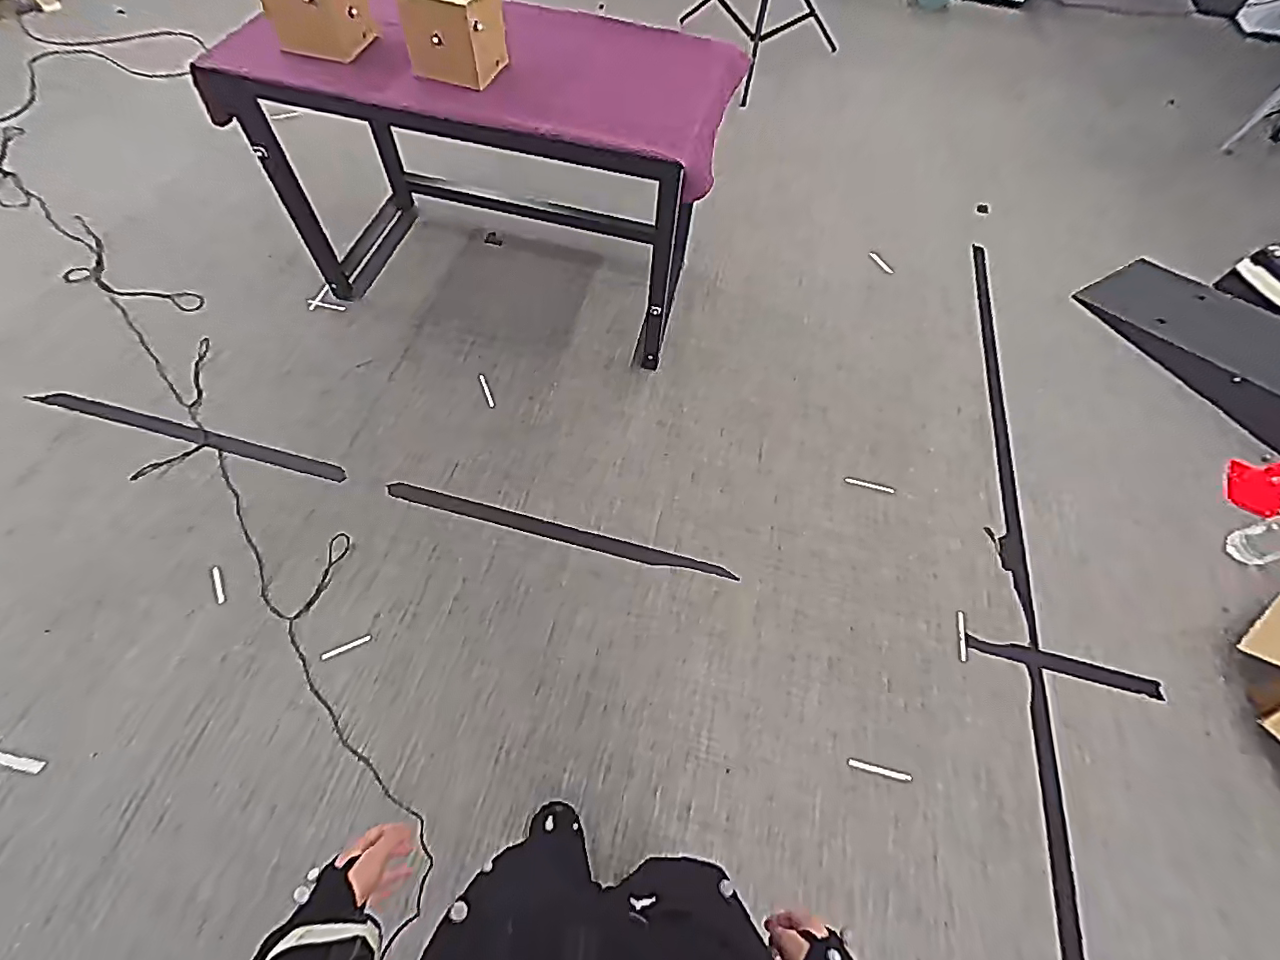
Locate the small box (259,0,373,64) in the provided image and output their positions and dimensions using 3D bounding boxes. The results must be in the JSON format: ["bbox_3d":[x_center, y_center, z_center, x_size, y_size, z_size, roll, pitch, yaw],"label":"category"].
[{"bbox_3d":[-0.777,-1.138,1.299,0.179,0.176,0.168,11,59,2],"label":"small box"}]
